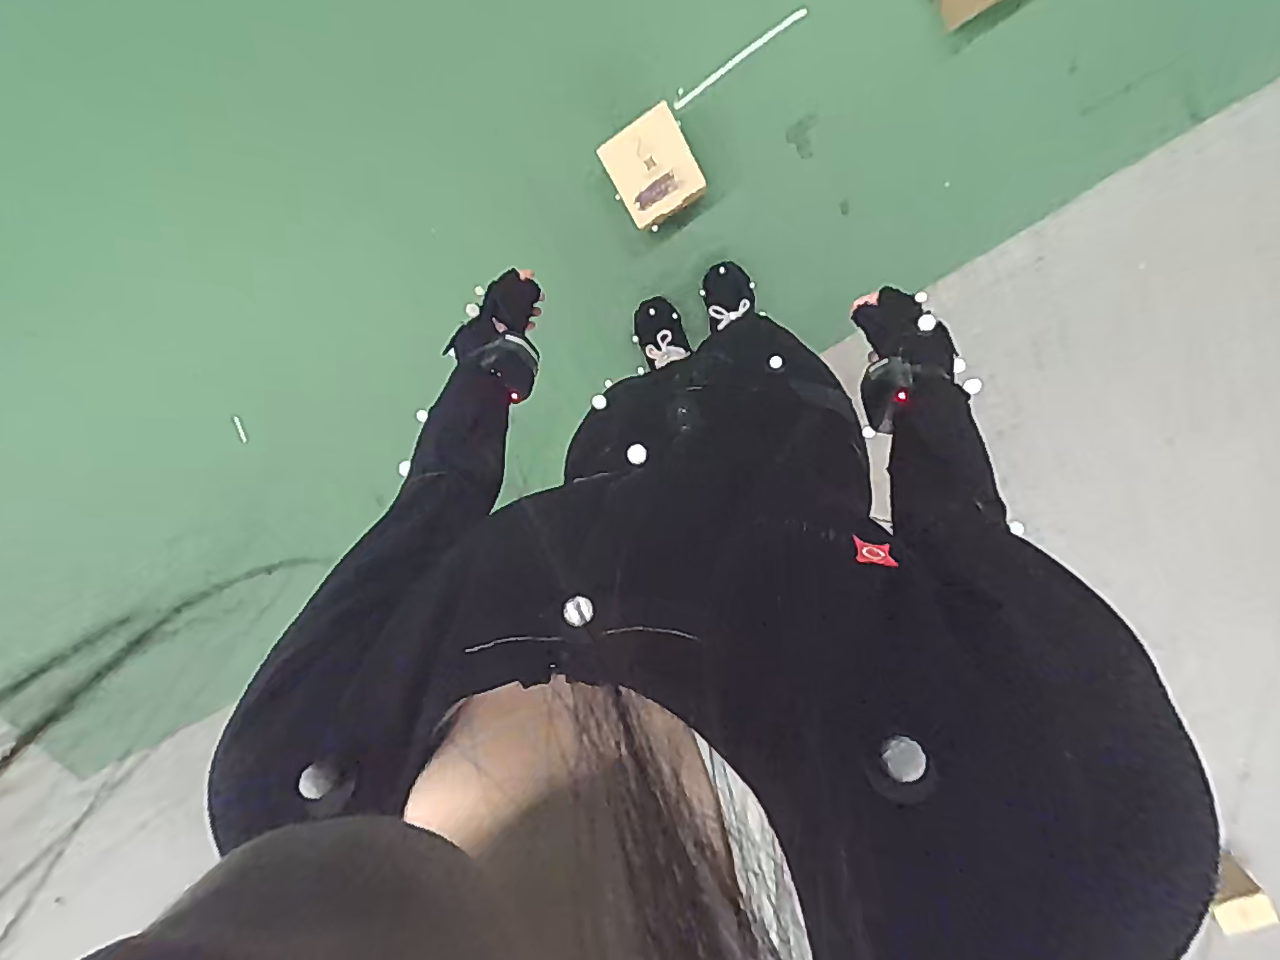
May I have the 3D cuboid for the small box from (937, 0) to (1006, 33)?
[{"bbox_3d":[0.662,-0.984,0.991,0.179,0.176,0.168,-28,107,15],"label":"small box"}]

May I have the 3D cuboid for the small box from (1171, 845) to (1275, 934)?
[{"bbox_3d":[2.025,1.425,1.885,0.168,0.176,0.179,-32,106,15],"label":"small box"}]
